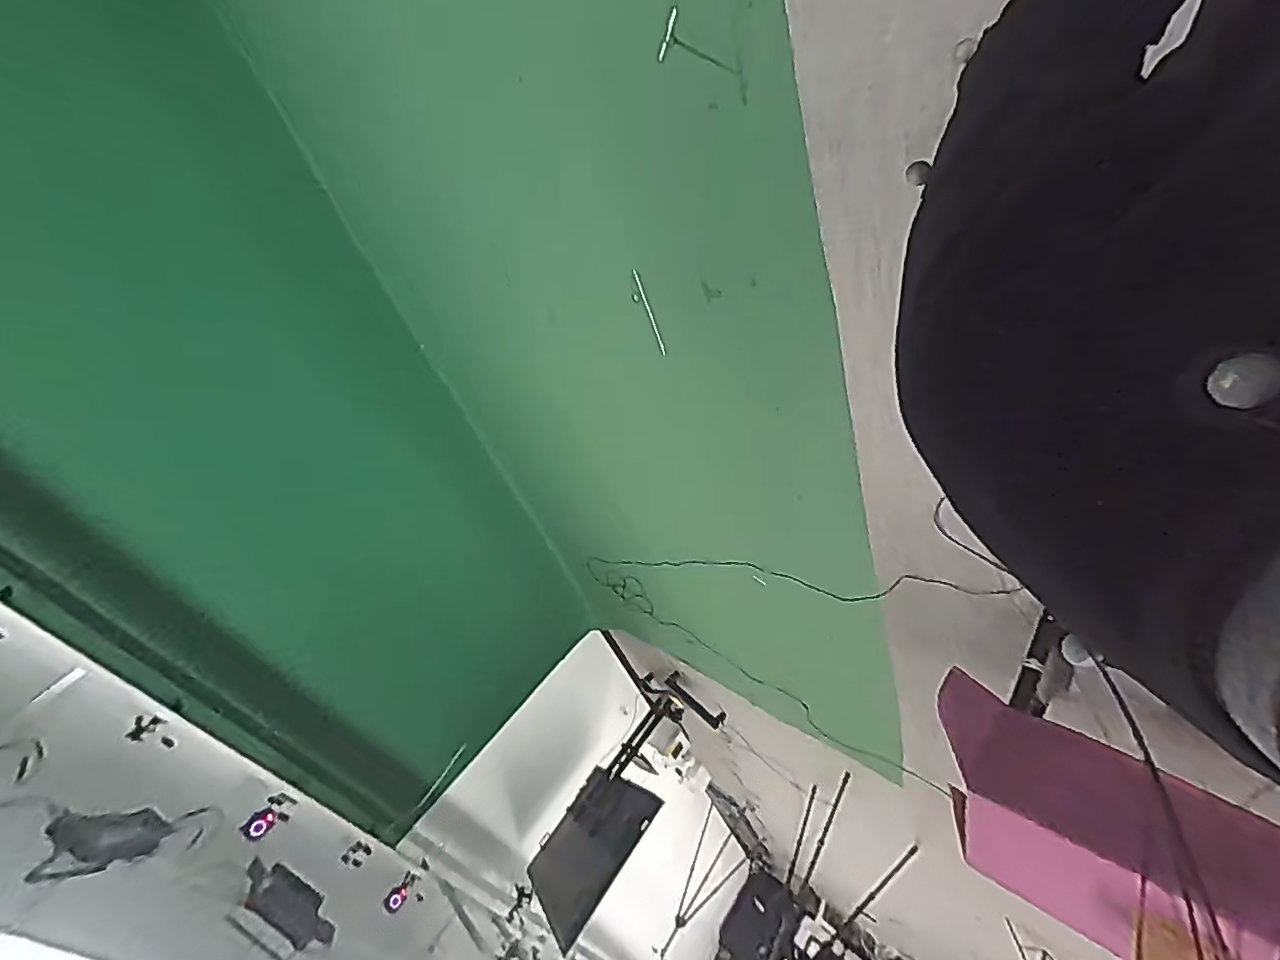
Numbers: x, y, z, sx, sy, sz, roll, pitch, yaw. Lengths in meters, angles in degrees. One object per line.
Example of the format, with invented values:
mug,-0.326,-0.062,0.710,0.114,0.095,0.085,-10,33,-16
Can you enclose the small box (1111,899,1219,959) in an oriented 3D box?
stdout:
small box,1.259,1.165,1.292,0.168,0.176,0.179,2,131,52
